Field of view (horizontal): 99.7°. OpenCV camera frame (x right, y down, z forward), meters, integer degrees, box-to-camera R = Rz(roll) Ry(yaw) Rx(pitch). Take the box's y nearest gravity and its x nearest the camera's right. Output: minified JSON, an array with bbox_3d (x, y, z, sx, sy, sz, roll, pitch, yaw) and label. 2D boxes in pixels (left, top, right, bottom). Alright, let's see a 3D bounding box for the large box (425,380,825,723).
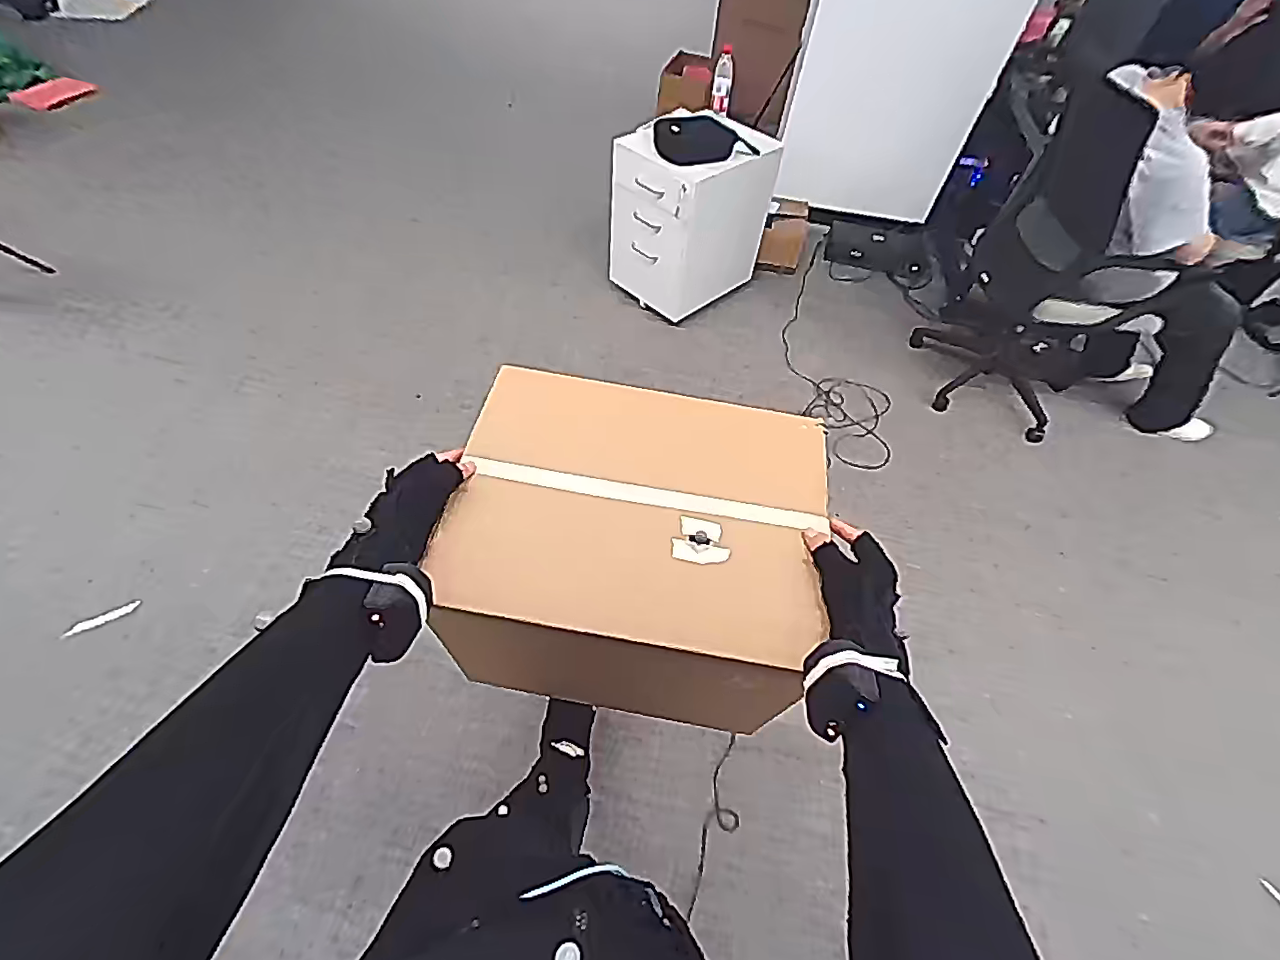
[{"bbox_3d":[-0.010,0.108,0.729,0.408,0.320,0.320,10,56,1],"label":"large box"}]
